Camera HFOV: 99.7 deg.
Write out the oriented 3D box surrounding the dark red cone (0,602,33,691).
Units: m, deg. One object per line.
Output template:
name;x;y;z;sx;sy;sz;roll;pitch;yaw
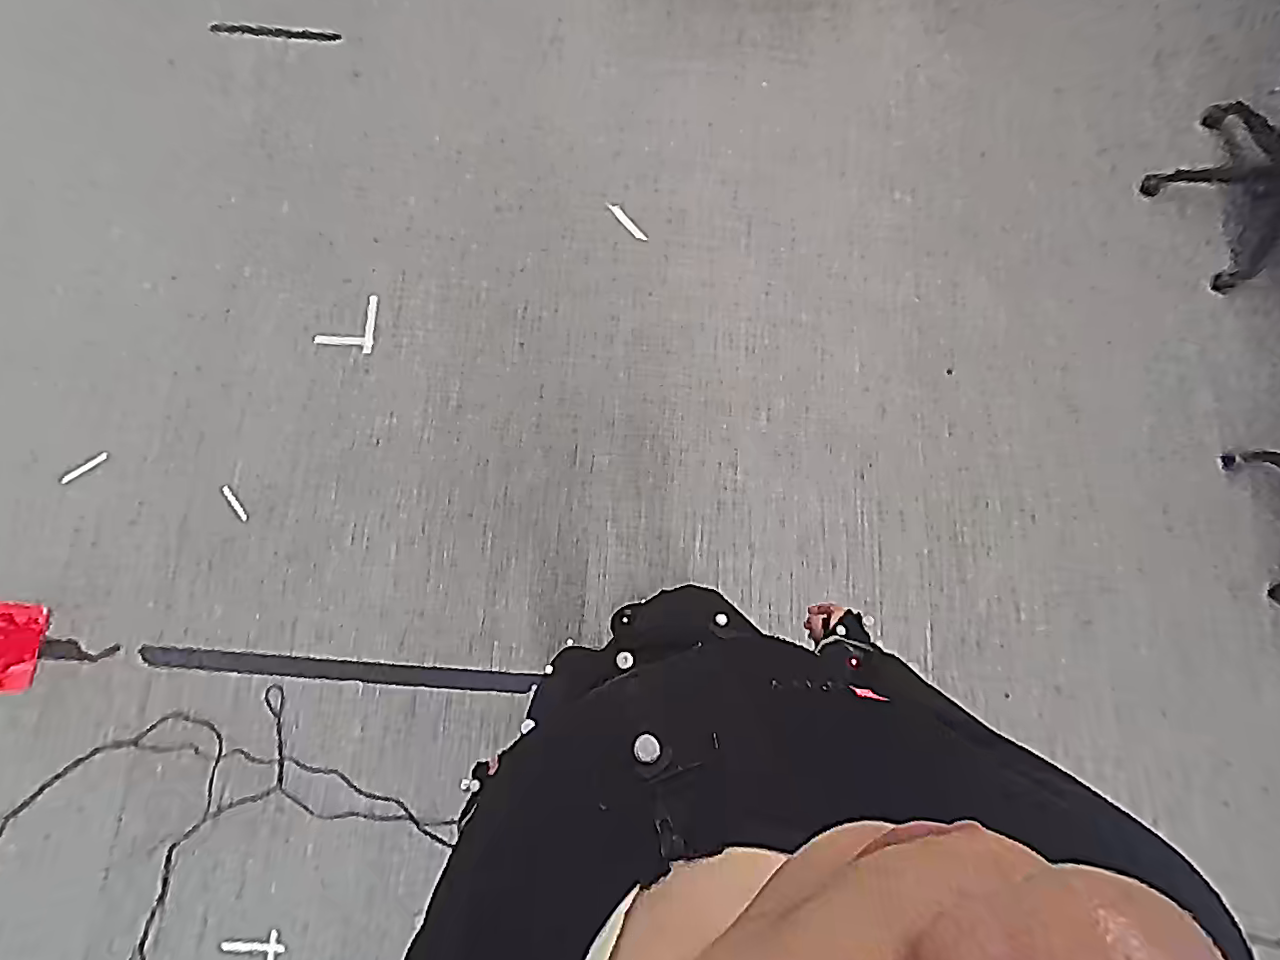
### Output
dark red cone;-1.528;0.358;1.099;0.202;0.394;0.201;4;80;-3
